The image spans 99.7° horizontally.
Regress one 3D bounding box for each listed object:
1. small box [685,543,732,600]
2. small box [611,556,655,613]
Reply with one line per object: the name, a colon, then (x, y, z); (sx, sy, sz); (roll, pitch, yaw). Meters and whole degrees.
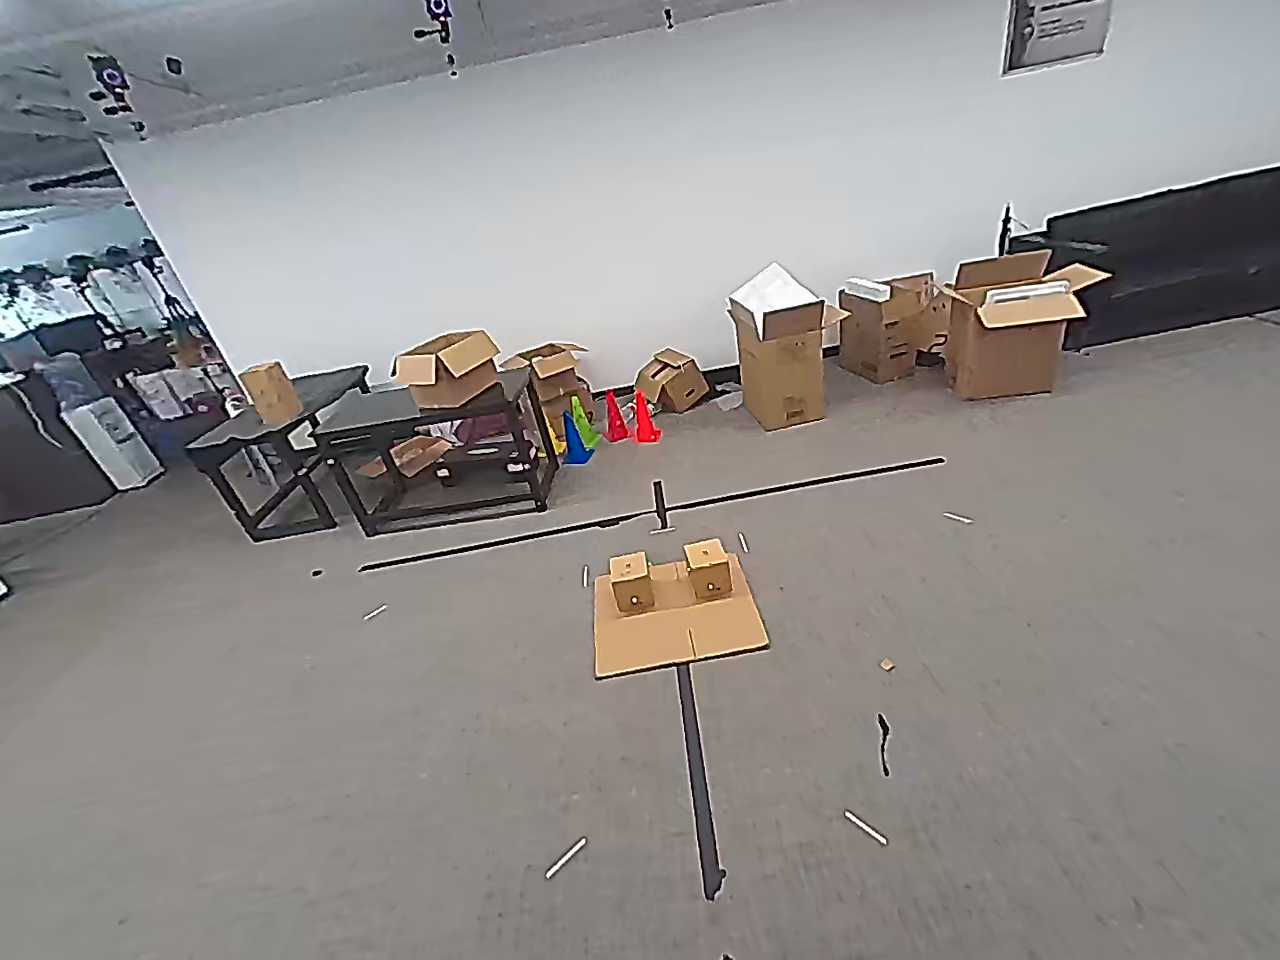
small box: (0.306, 0.411, 2.429); (0.168, 0.176, 0.179); (-13, 29, -2)
small box: (-0.032, 0.471, 2.436); (0.168, 0.176, 0.179); (-12, 29, 1)
